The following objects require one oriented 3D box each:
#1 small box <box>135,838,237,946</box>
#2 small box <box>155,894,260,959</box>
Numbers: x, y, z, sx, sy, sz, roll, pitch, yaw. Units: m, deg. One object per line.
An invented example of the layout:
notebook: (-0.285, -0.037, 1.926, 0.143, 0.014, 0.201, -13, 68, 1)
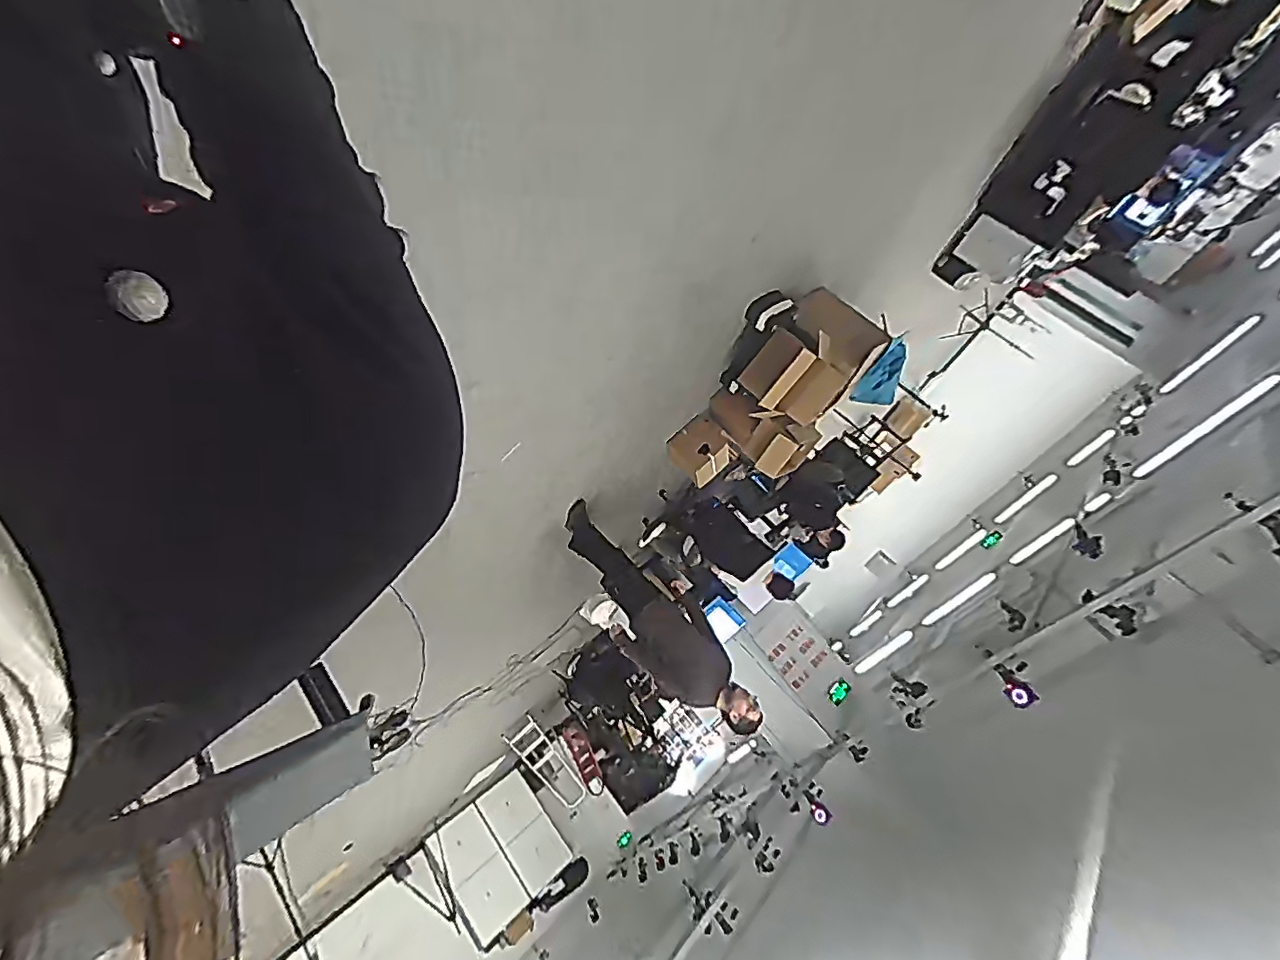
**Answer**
small box: (-1.273, 1.156, 1.515, 0.179, 0.176, 0.168, -24, 153, -42)
small box: (-1.169, 1.272, 1.467, 0.168, 0.176, 0.179, -27, 153, -42)
